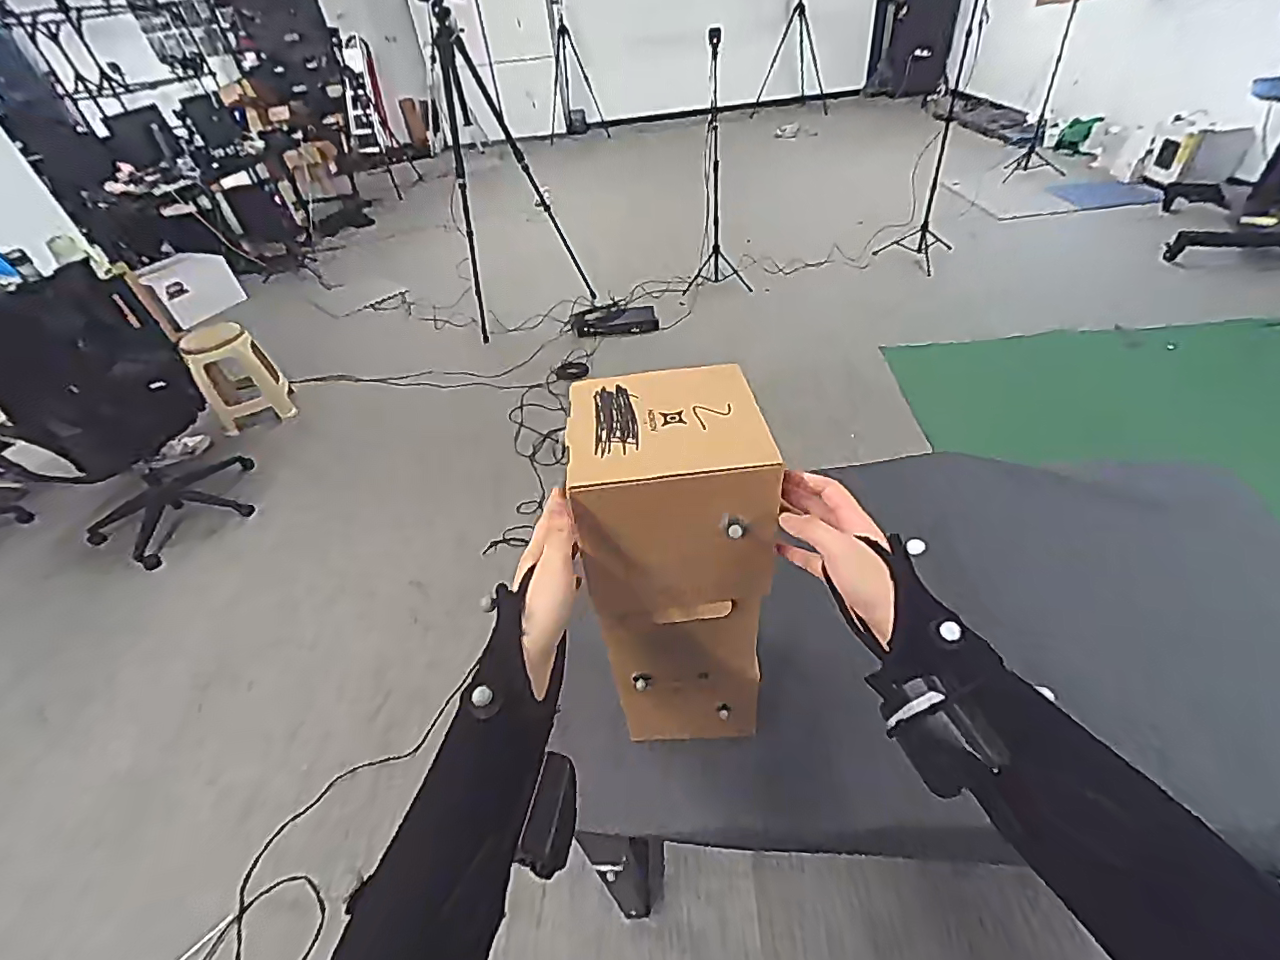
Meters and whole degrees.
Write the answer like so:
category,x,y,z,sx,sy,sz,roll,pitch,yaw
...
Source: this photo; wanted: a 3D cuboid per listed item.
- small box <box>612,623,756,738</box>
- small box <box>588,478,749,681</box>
category,x,y,z,sx,sy,sz,roll,pitch,yaw
small box,0.061,0.244,0.759,0.179,0.176,0.168,-5,40,5
small box,0.034,0.124,0.650,0.168,0.176,0.179,-7,40,1
